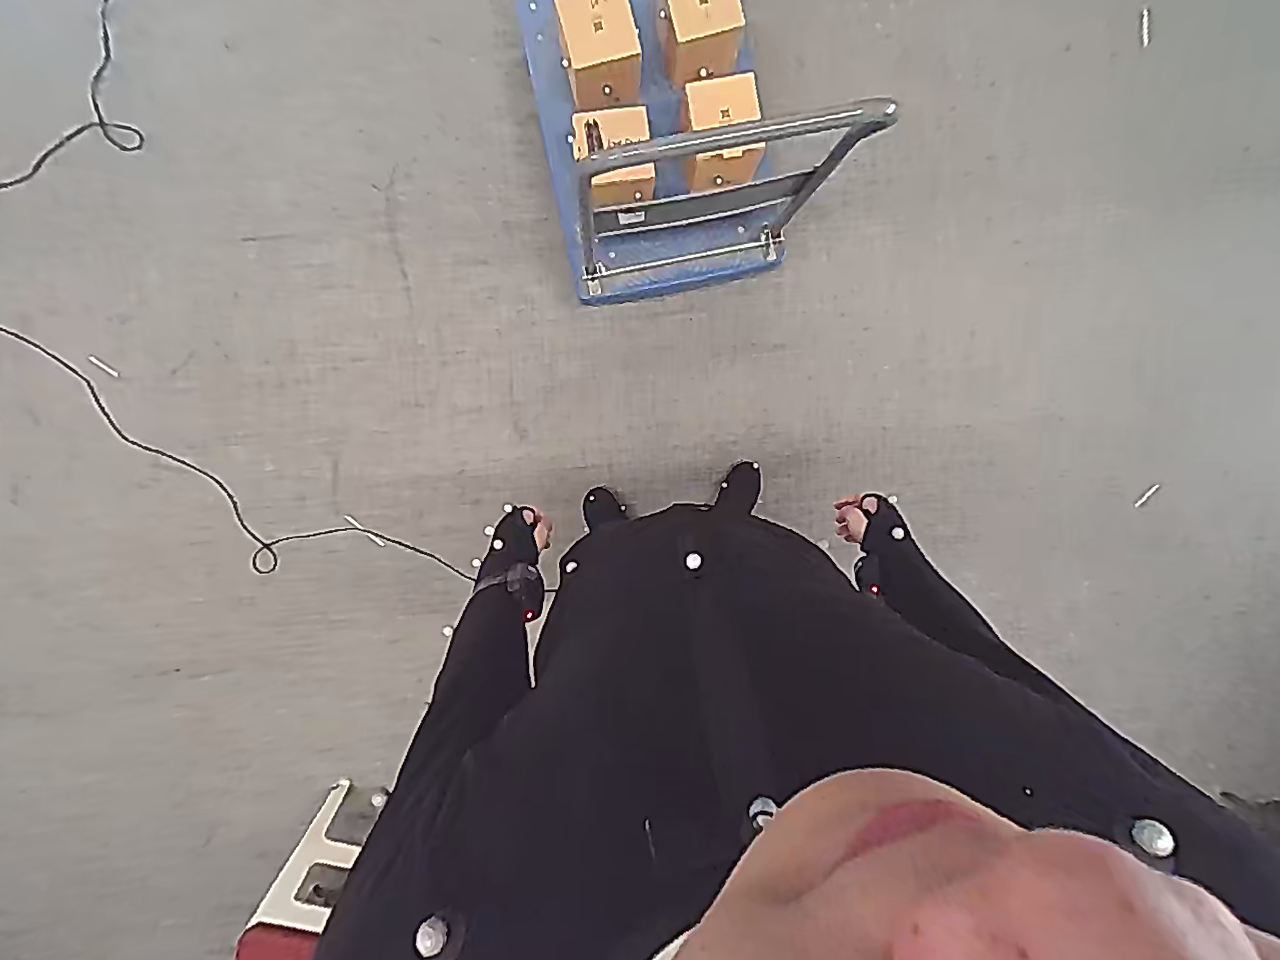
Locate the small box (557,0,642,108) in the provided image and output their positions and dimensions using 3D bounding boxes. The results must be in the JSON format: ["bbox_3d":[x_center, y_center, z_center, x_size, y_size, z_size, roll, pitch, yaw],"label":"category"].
[{"bbox_3d":[-0.096,-1.060,1.337,0.168,0.176,0.179,-15,93,-2],"label":"small box"}]

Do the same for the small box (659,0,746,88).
[{"bbox_3d":[0.147,-1.129,1.340,0.168,0.176,0.179,-15,94,0],"label":"small box"}]

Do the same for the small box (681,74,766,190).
[{"bbox_3d":[0.202,-0.864,1.356,0.168,0.176,0.179,-11,93,-1],"label":"small box"}]
